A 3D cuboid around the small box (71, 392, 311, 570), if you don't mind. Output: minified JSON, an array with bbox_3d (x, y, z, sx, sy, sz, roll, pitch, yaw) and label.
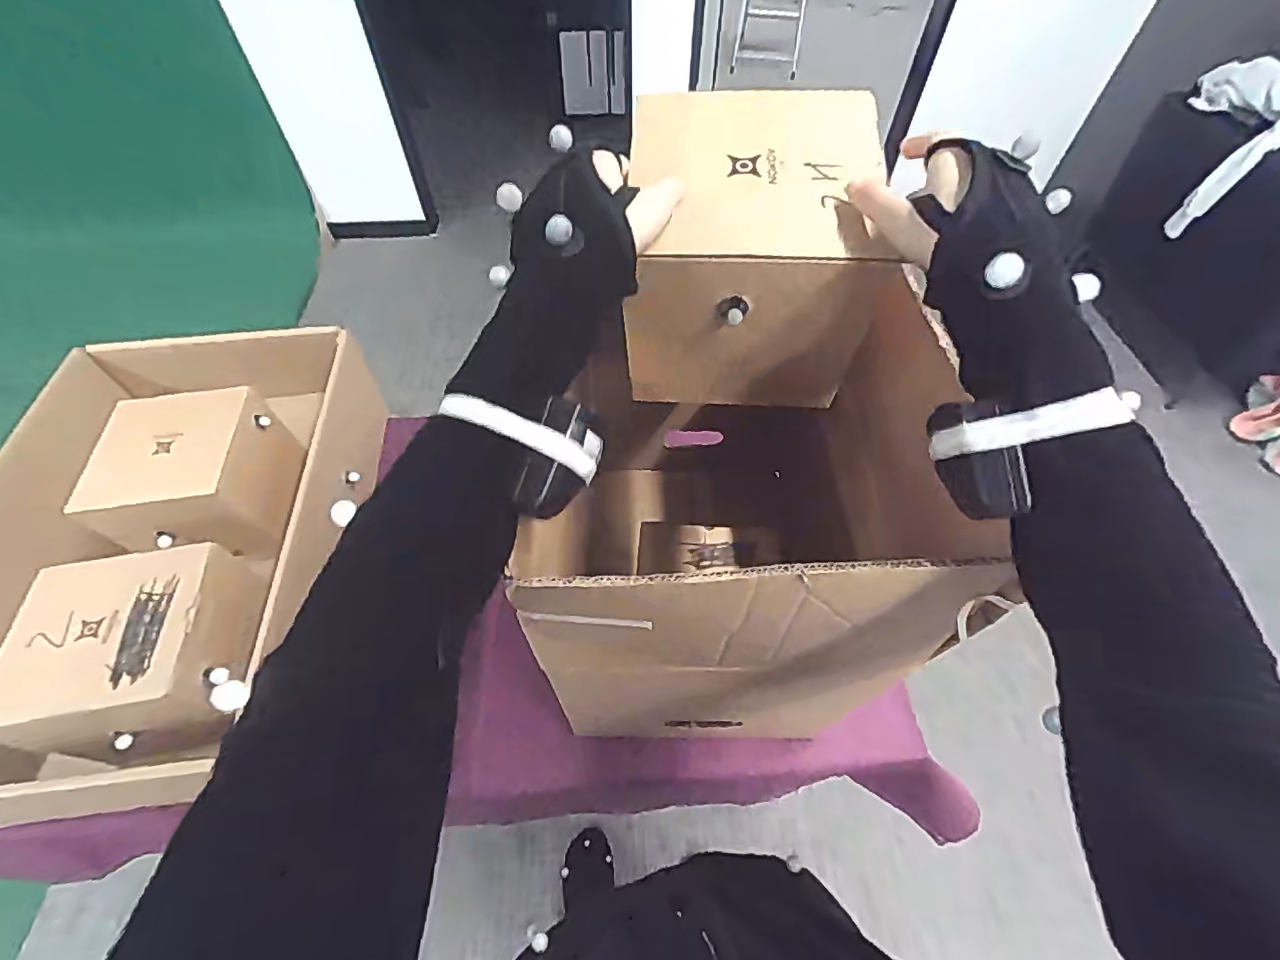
[{"bbox_3d":[-0.581,0.009,0.734,0.168,0.176,0.179,-8,55,-4],"label":"small box"}]

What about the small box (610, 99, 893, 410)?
[{"bbox_3d":[0.078,-0.169,0.437,0.179,0.176,0.168,3,67,4],"label":"small box"}]
